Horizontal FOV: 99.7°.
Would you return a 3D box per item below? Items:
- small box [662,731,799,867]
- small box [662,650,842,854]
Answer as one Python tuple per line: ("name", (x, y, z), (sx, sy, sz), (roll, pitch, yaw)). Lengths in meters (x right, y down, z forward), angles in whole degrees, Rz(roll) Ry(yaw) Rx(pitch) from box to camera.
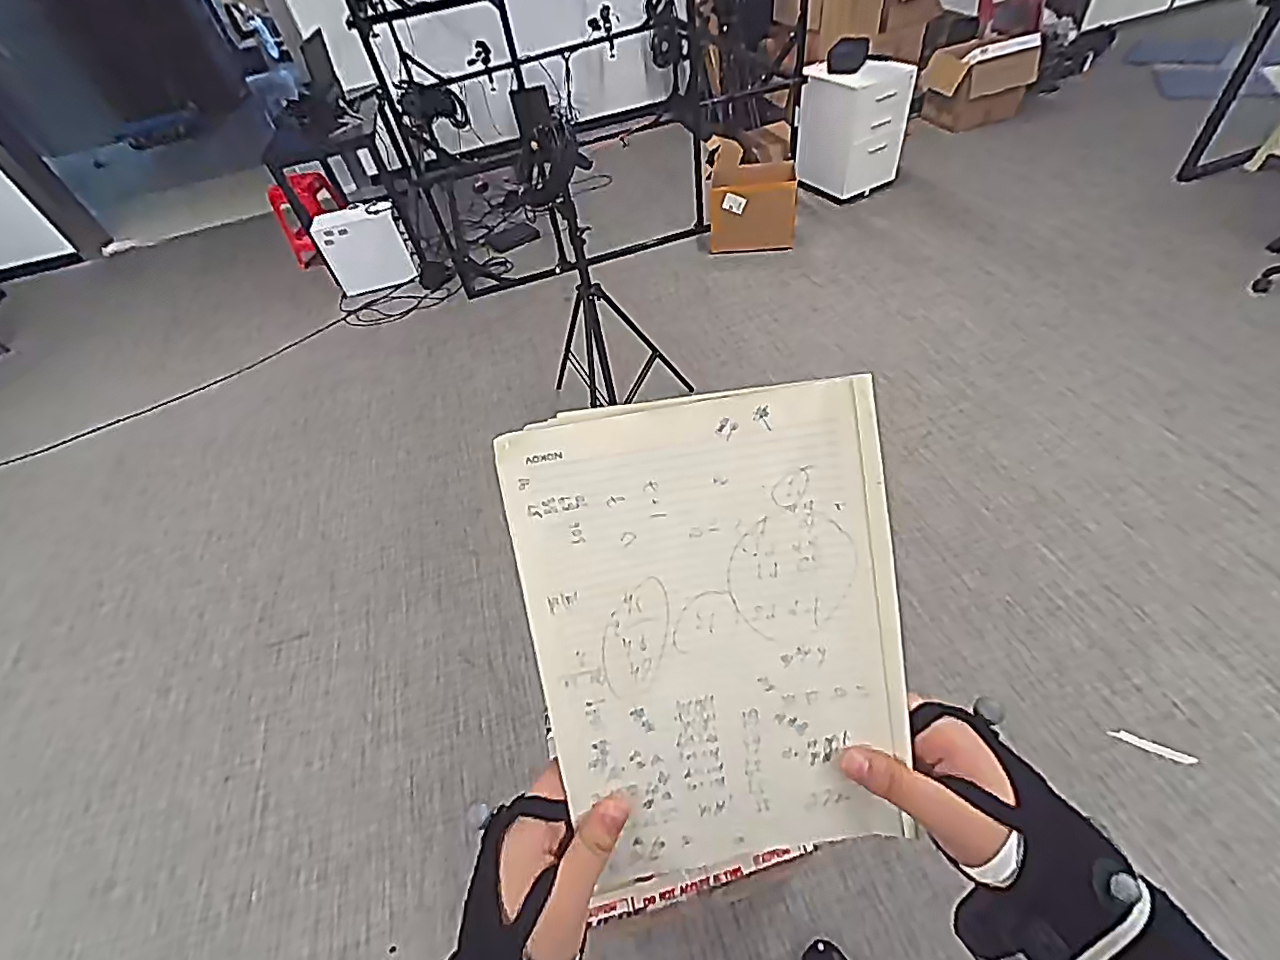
("small box", (0.143, 0.462, 0.827), (0.179, 0.176, 0.168), (-18, 50, -8))
("small box", (0.131, 0.354, 0.703), (0.168, 0.176, 0.179), (-15, 50, -6))
